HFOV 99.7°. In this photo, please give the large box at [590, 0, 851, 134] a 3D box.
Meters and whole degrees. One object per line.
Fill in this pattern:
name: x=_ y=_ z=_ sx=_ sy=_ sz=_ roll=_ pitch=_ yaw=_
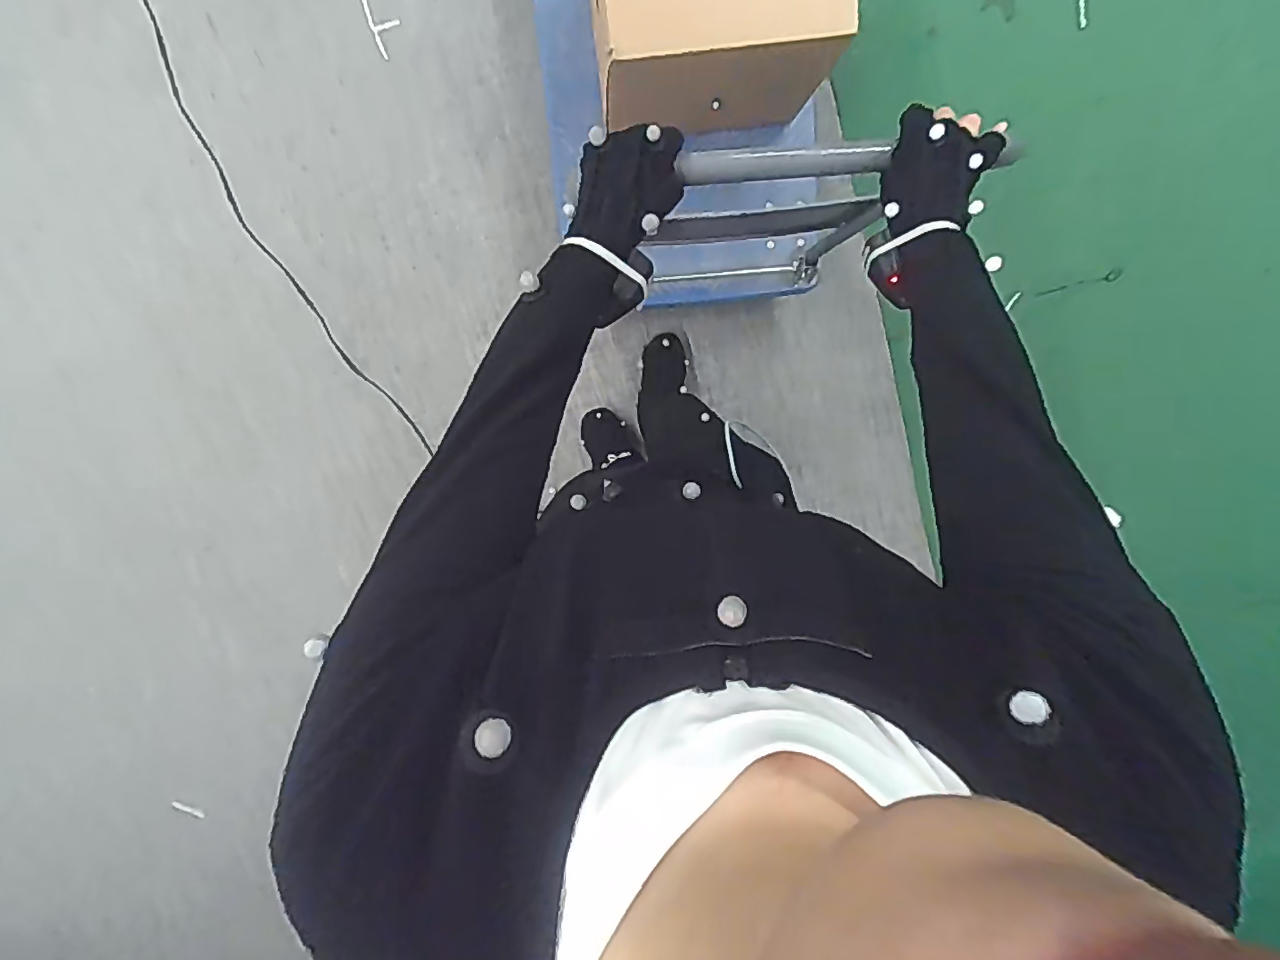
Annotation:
large box: x=0.118 y=-0.879 z=0.983 sx=0.408 sy=0.320 sz=0.320 roll=-8 pitch=101 yaw=-2
